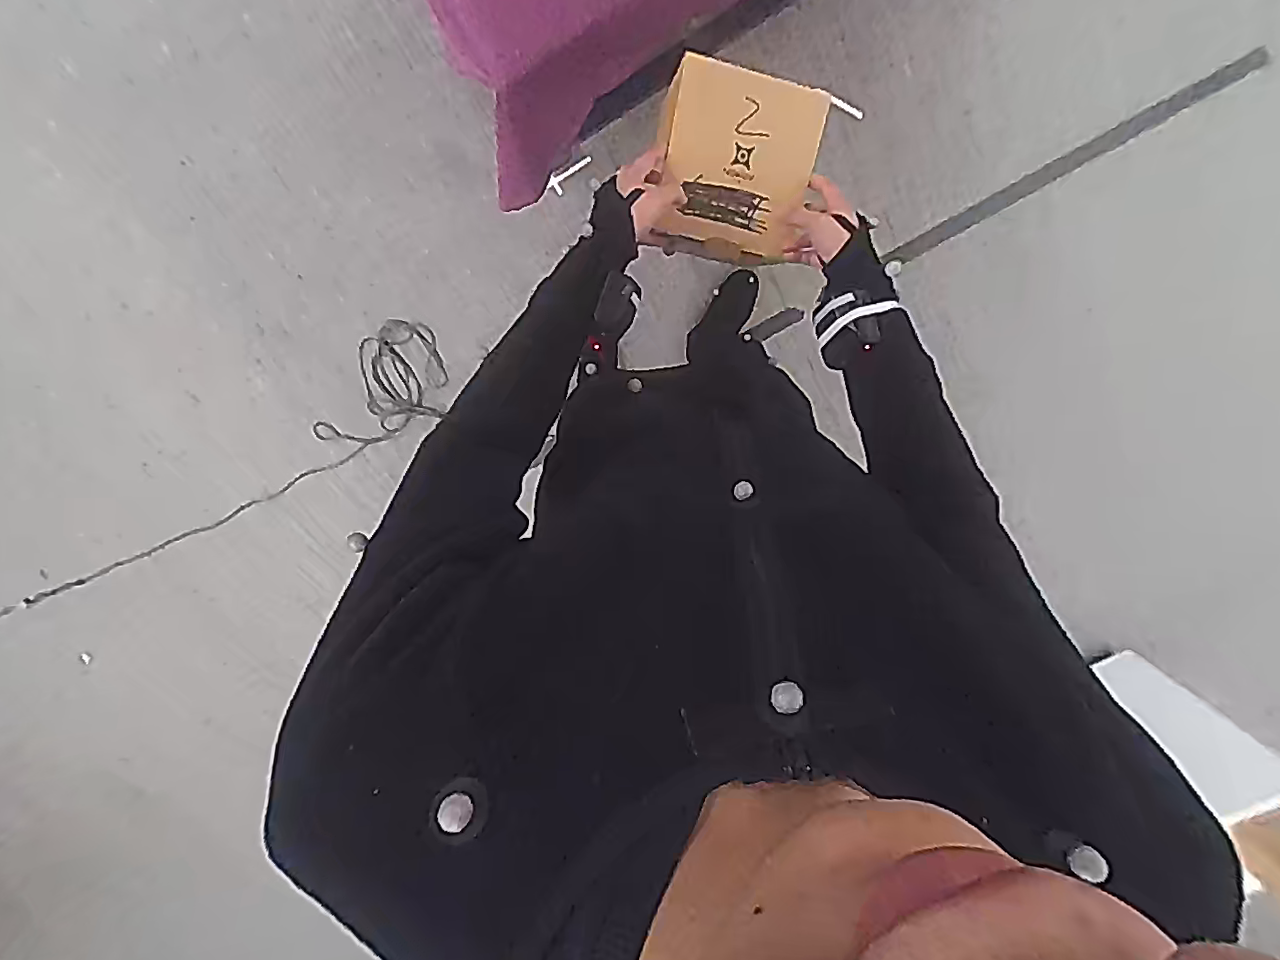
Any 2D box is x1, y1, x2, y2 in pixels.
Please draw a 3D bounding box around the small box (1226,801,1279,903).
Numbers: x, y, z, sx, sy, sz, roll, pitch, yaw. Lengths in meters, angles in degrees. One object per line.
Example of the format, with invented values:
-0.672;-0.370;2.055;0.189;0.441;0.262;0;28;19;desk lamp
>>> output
1.736;1.007;1.444;0.168;0.176;0.179;-27;111;5;small box
